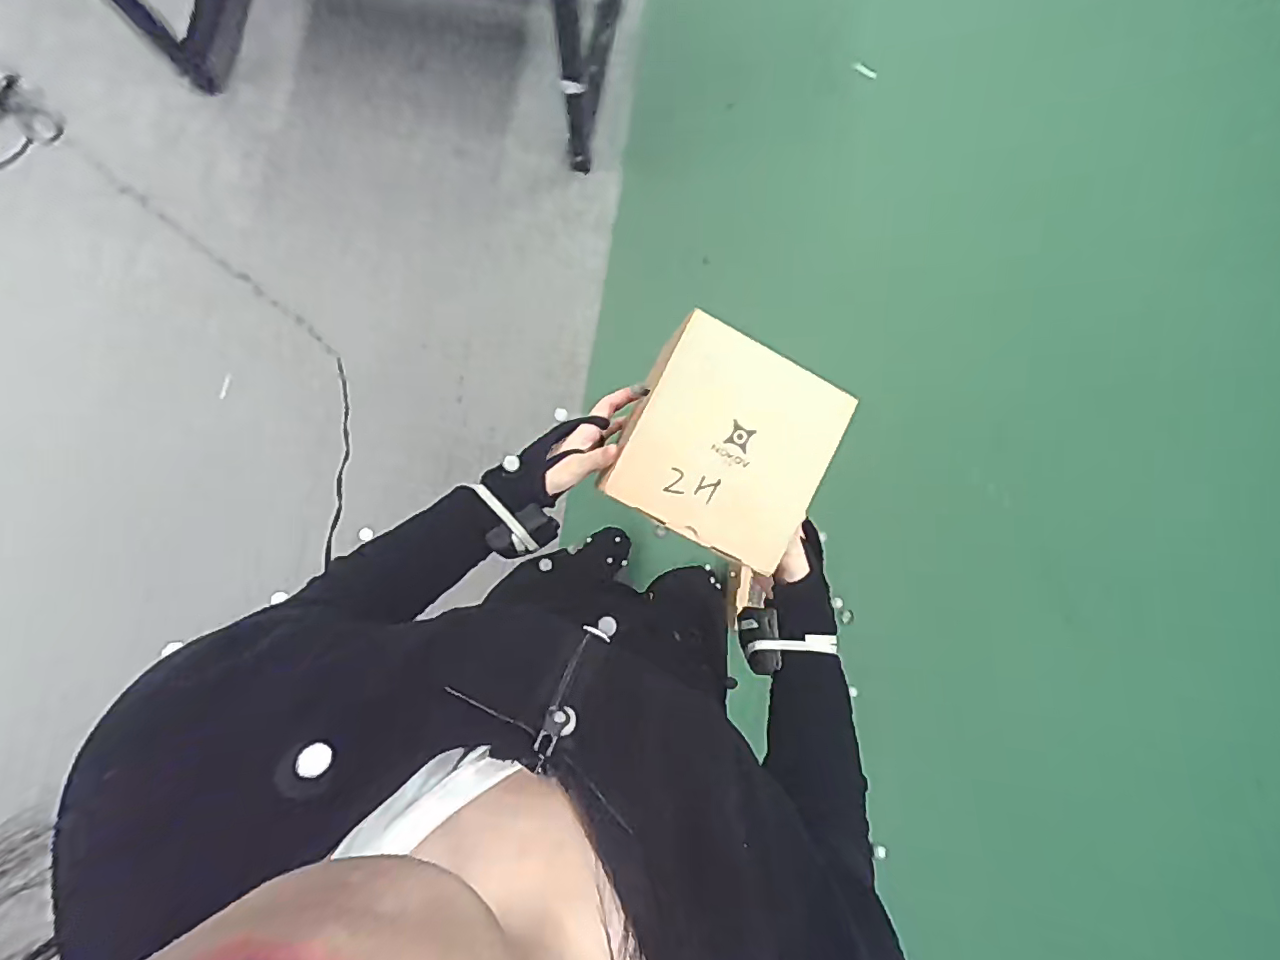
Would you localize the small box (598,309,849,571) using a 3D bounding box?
[{"bbox_3d":[0.066,-0.034,0.540,0.168,0.176,0.179,27,87,-7],"label":"small box"}]
